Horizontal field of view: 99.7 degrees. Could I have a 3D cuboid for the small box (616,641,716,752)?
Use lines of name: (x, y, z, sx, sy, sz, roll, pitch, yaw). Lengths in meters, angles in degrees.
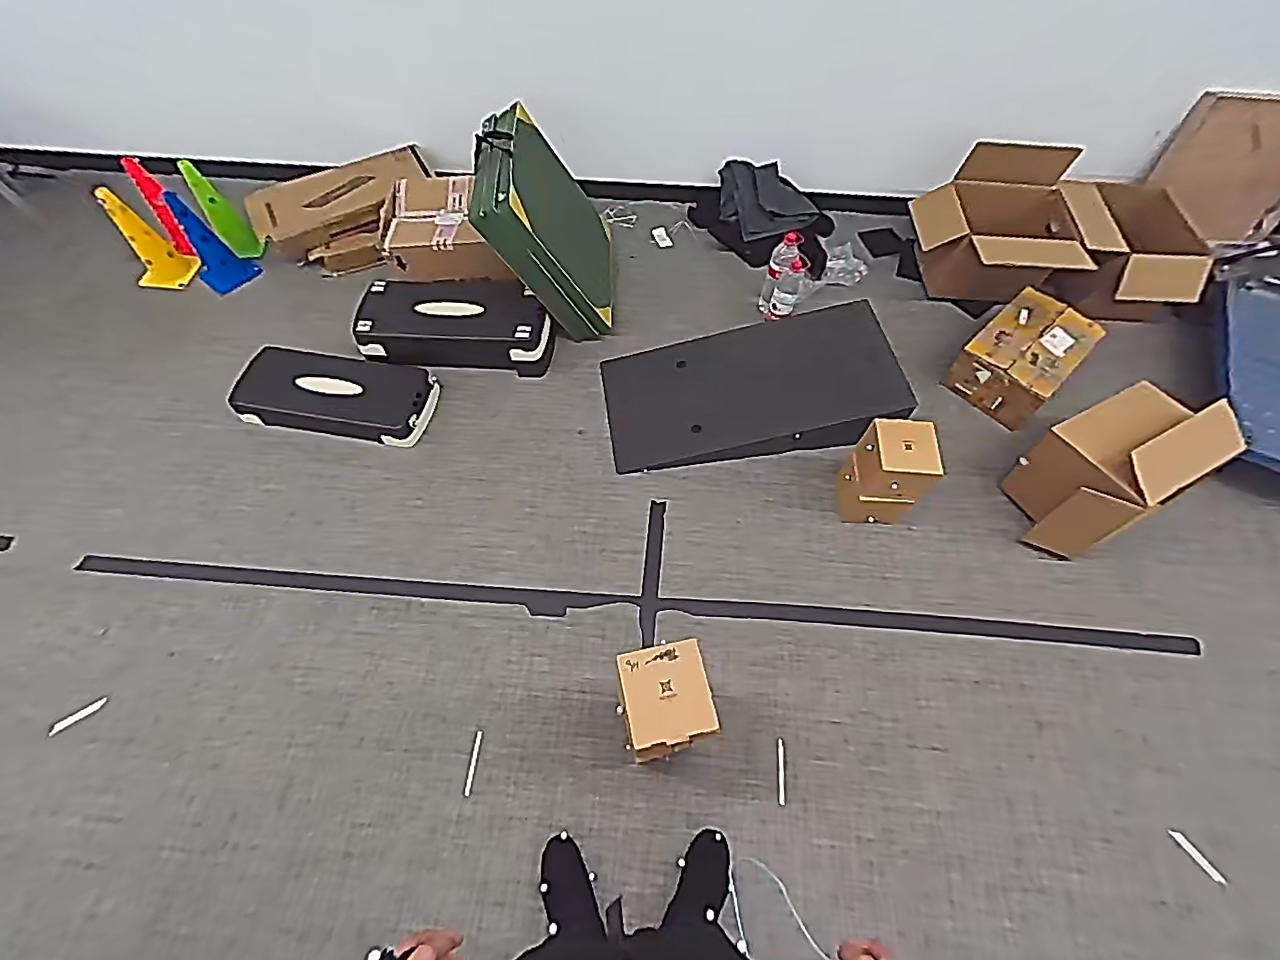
small box: (0.049, 0.447, 1.109, 0.168, 0.176, 0.179, -10, 62, -7)
